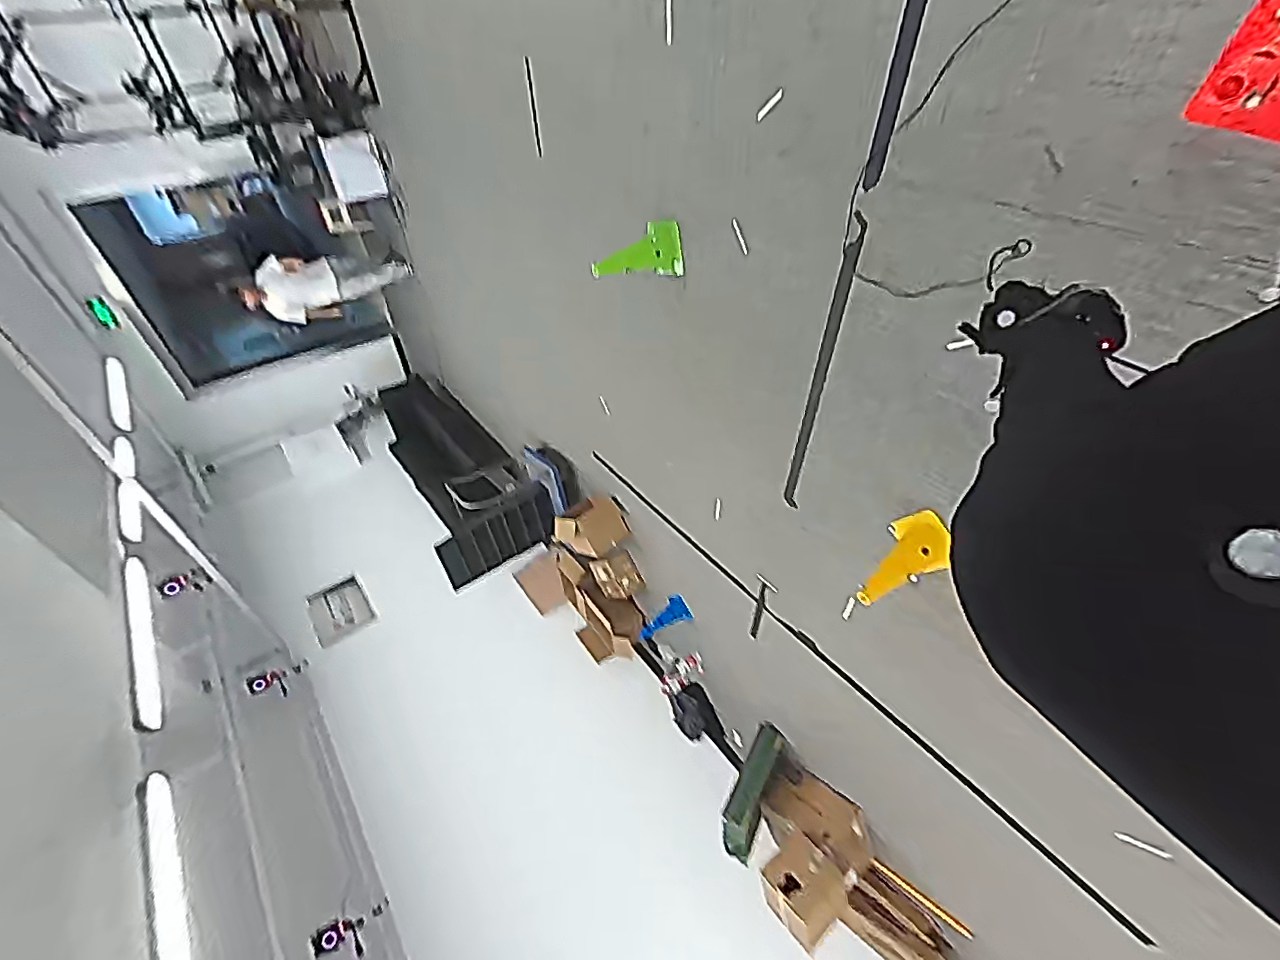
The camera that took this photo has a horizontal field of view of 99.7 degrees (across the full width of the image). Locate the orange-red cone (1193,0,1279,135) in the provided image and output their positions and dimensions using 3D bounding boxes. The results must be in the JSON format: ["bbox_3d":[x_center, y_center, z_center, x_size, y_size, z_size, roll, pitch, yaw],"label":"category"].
[{"bbox_3d":[0.886,-0.580,0.759,0.198,0.360,0.199,47,152,30],"label":"orange-red cone"}]

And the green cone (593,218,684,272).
[{"bbox_3d":[-0.025,-0.893,2.146,0.200,0.368,0.202,28,138,48],"label":"green cone"}]
